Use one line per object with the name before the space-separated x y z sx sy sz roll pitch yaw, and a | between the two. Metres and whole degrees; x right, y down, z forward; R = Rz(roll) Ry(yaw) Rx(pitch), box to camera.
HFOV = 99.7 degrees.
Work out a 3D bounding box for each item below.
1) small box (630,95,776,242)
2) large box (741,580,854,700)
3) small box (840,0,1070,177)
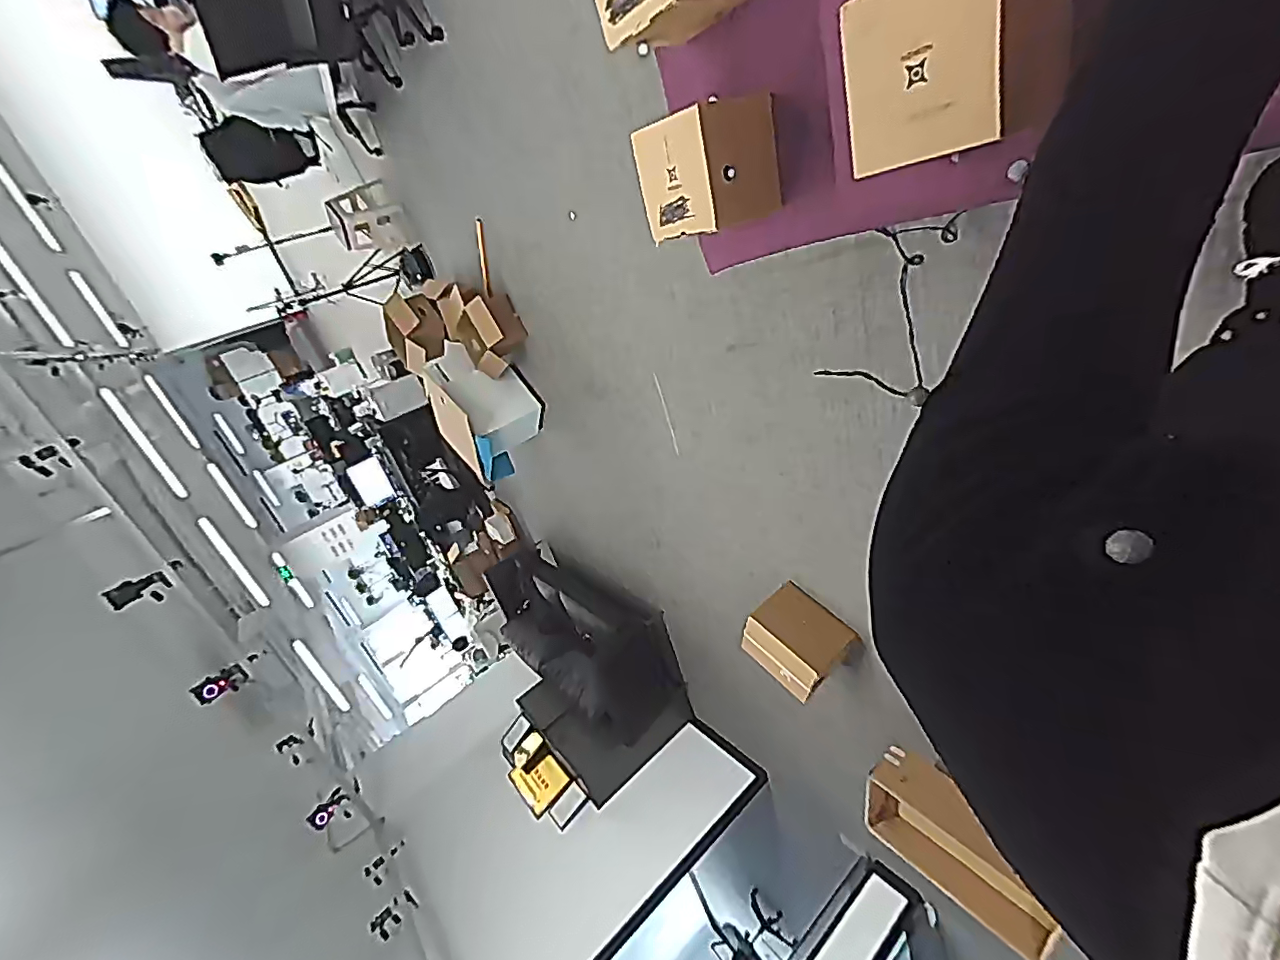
small box | 0.114 -0.526 0.923 0.168 0.176 0.179 20 133 49
large box | 0.761 0.776 2.661 0.408 0.320 0.320 37 147 32
small box | 0.352 -0.468 0.607 0.168 0.176 0.179 19 133 51
